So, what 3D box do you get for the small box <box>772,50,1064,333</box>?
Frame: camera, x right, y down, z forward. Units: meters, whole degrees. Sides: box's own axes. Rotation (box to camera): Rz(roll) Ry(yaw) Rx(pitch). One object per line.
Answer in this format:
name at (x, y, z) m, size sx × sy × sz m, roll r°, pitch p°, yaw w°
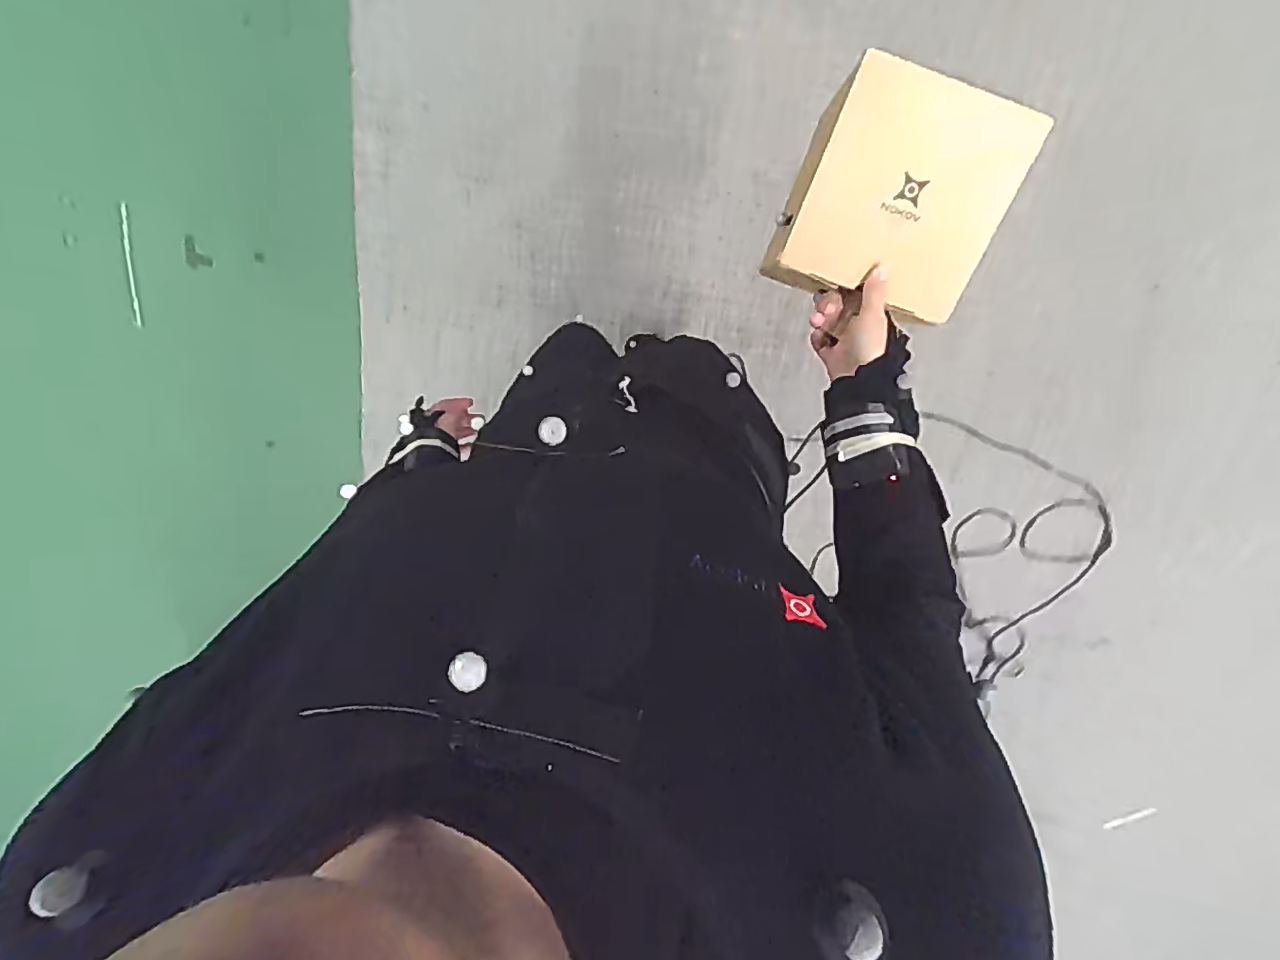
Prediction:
small box at (0.245, -0.264, 0.536) m, size 0.168 × 0.176 × 0.179 m, roll 22°, pitch 110°, yaw -2°
